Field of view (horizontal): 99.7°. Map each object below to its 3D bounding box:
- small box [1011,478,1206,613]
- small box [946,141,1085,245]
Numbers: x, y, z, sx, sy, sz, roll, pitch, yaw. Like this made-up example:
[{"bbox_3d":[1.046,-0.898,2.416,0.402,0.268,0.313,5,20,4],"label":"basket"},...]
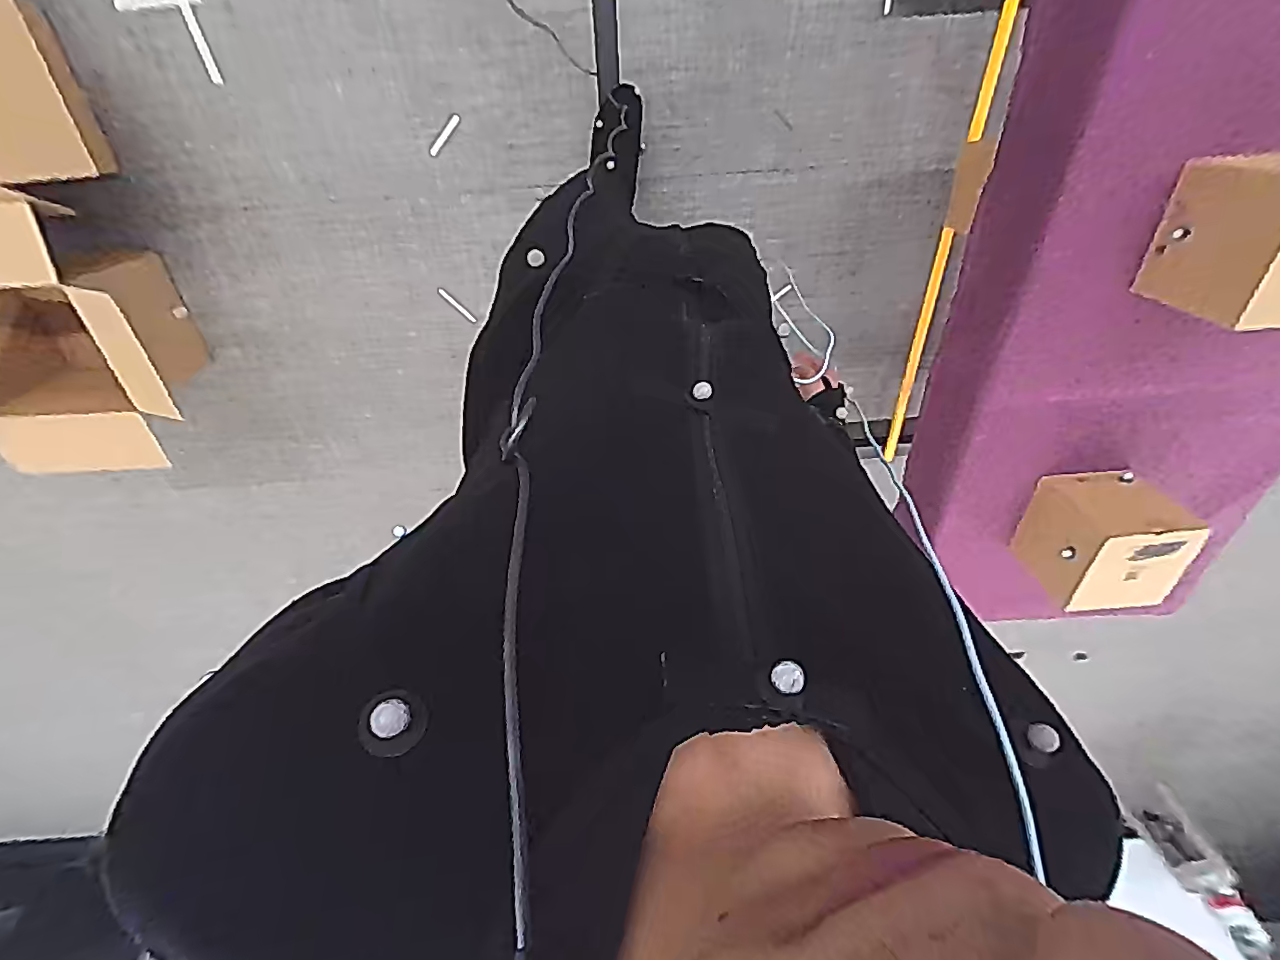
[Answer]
[{"bbox_3d":[0.803,0.108,0.955,0.168,0.176,0.179,-4,126,0],"label":"small box"},{"bbox_3d":[0.809,-0.633,1.191,0.168,0.176,0.179,-5,125,0],"label":"small box"}]
